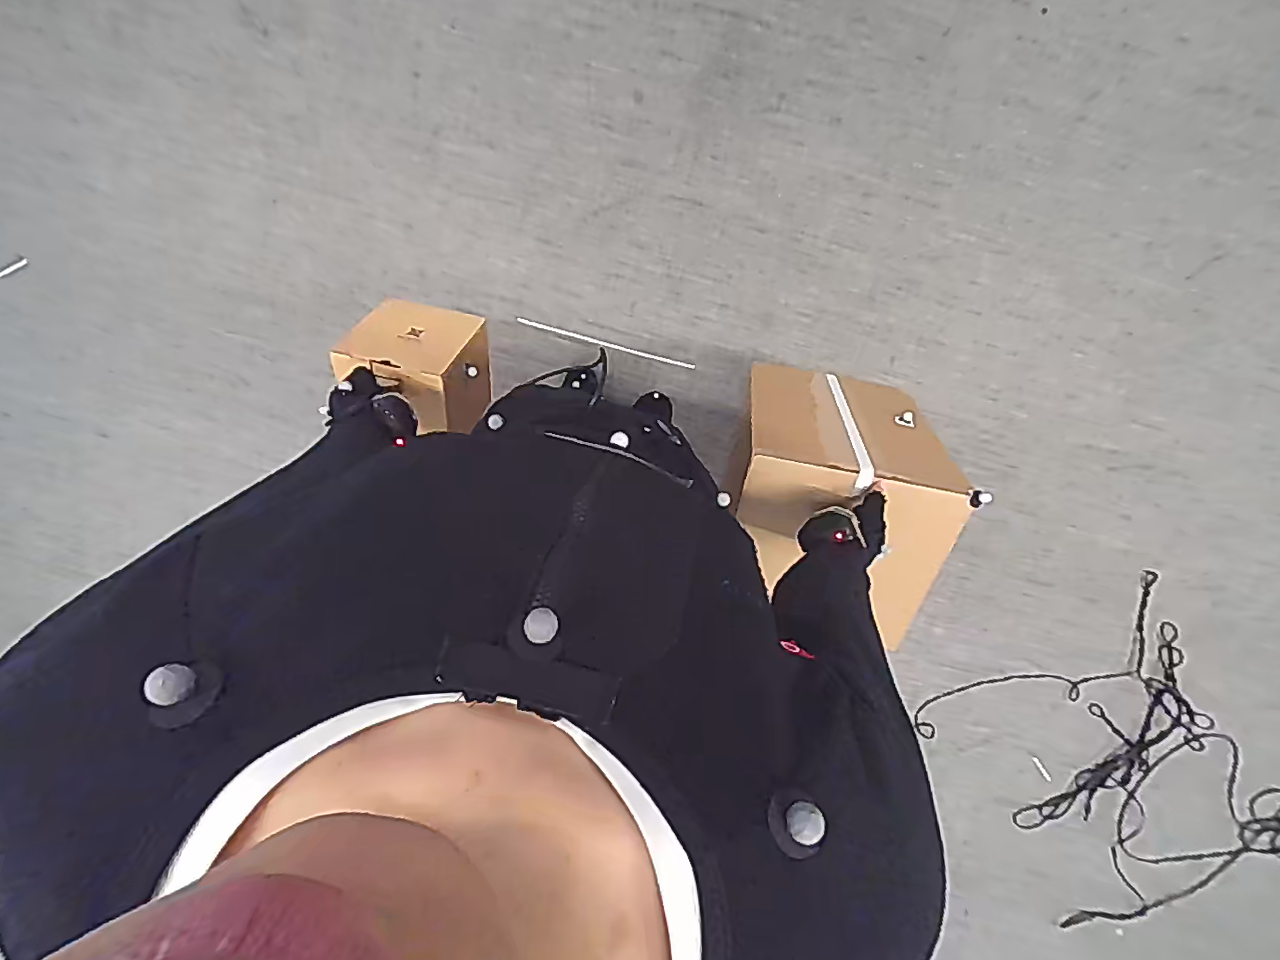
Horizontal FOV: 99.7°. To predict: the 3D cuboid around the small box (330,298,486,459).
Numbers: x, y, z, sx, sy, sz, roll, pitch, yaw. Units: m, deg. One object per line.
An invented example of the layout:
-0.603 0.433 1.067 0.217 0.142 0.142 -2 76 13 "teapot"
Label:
-0.358 -0.163 0.874 0.168 0.179 0.176 12 135 1 "small box"
